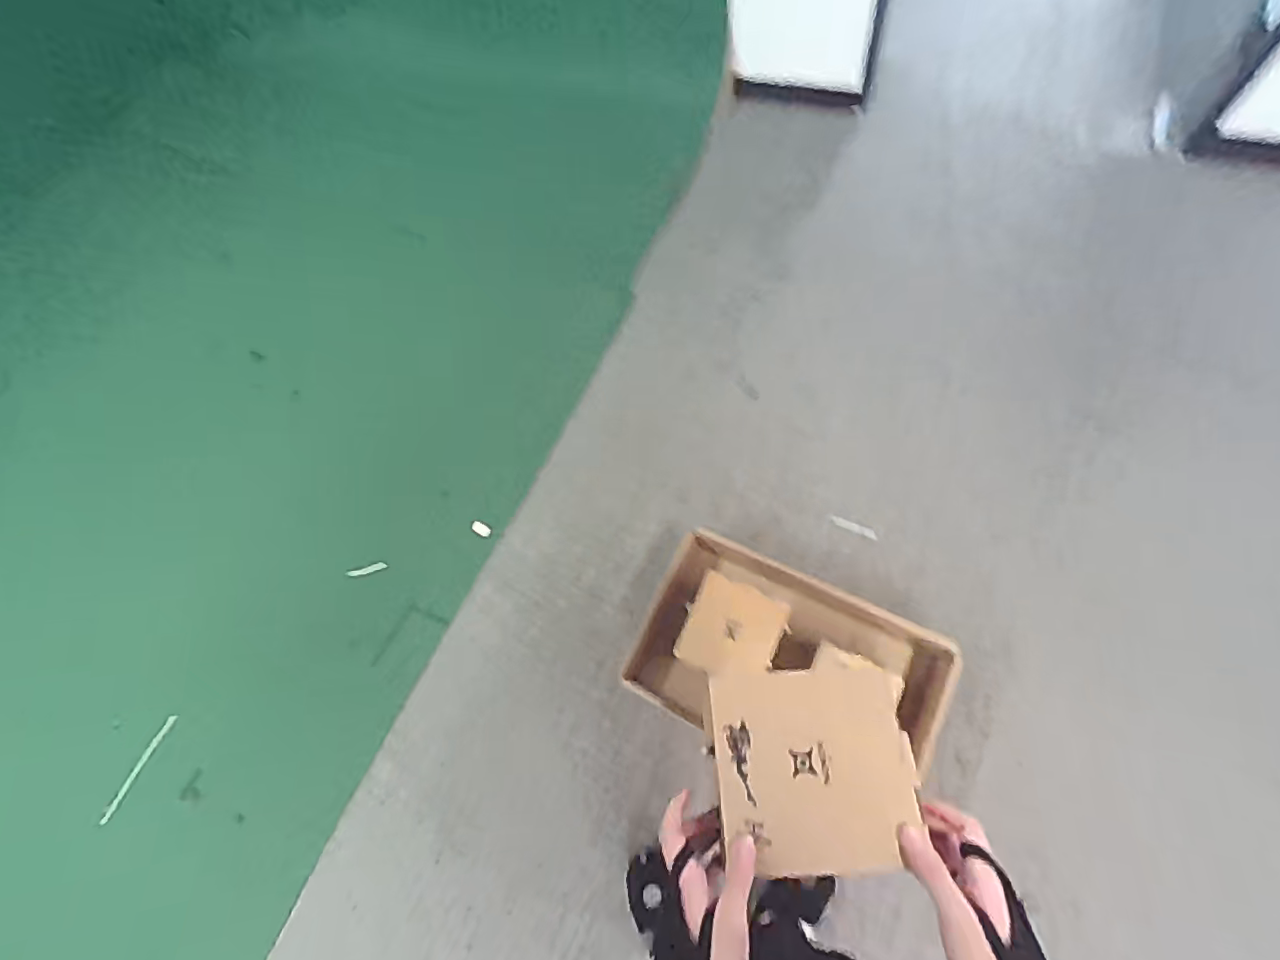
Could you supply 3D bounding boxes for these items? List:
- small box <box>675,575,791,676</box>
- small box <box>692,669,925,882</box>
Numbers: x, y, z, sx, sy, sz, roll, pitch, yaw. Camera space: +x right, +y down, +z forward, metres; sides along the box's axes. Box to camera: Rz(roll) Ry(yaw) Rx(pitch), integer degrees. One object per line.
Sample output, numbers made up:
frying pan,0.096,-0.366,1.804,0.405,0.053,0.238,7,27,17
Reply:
small box,0.188,0.316,1.079,0.168,0.176,0.179,22,75,17
small box,0.148,0.300,0.551,0.179,0.176,0.168,-4,56,1
